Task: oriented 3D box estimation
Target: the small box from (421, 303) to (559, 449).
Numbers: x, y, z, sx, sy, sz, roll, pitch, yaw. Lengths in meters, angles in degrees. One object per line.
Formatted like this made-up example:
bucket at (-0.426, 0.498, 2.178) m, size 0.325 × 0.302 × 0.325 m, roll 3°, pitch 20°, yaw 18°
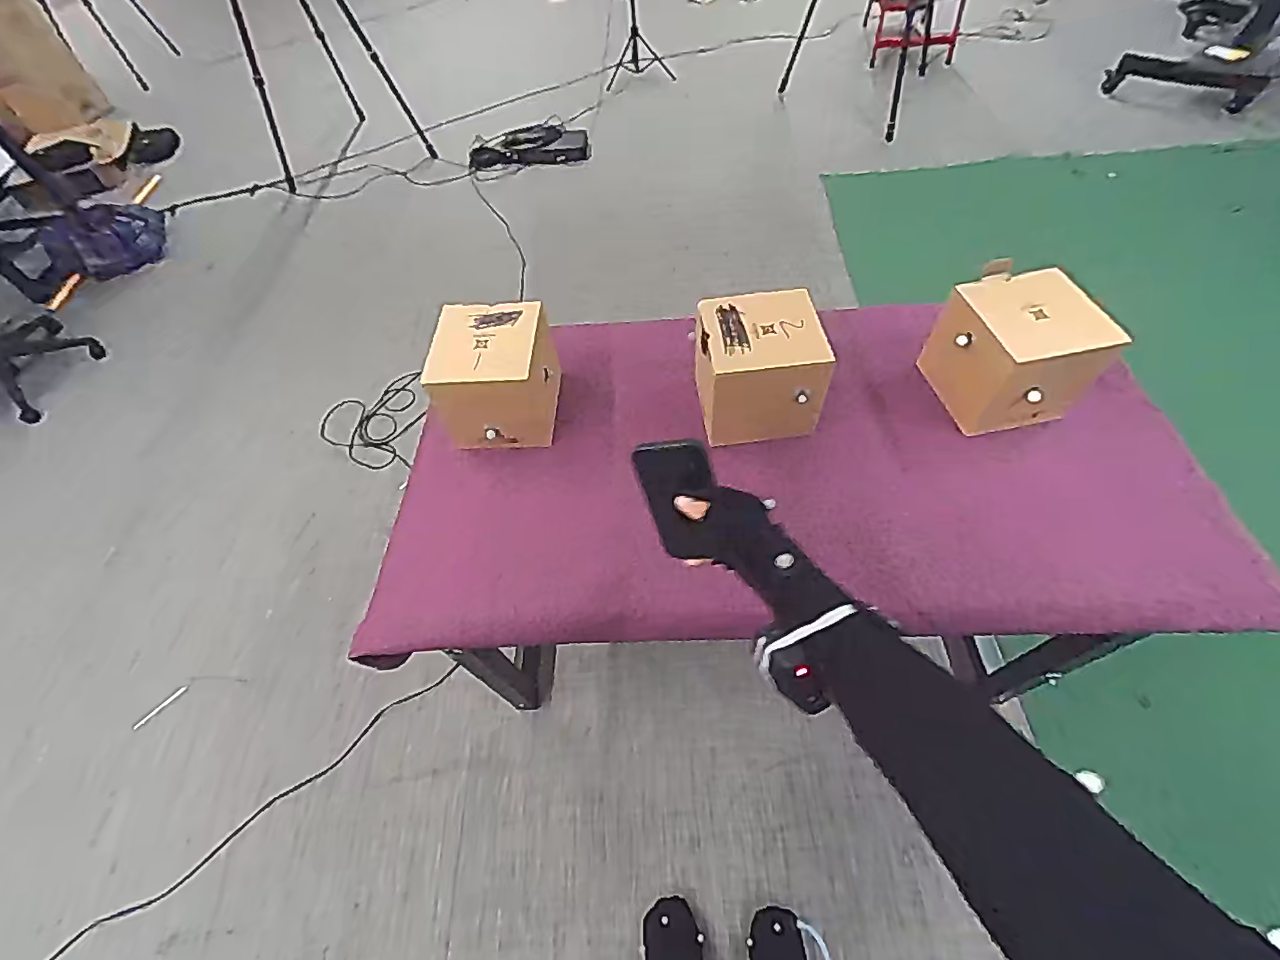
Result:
small box at (-0.234, -0.170, 0.900) m, size 0.168 × 0.176 × 0.179 m, roll -1°, pitch 58°, yaw 4°

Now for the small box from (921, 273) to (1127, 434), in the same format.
small box at (0.578, -0.188, 0.845) m, size 0.168 × 0.176 × 0.179 m, roll -11°, pitch 55°, yaw -2°
